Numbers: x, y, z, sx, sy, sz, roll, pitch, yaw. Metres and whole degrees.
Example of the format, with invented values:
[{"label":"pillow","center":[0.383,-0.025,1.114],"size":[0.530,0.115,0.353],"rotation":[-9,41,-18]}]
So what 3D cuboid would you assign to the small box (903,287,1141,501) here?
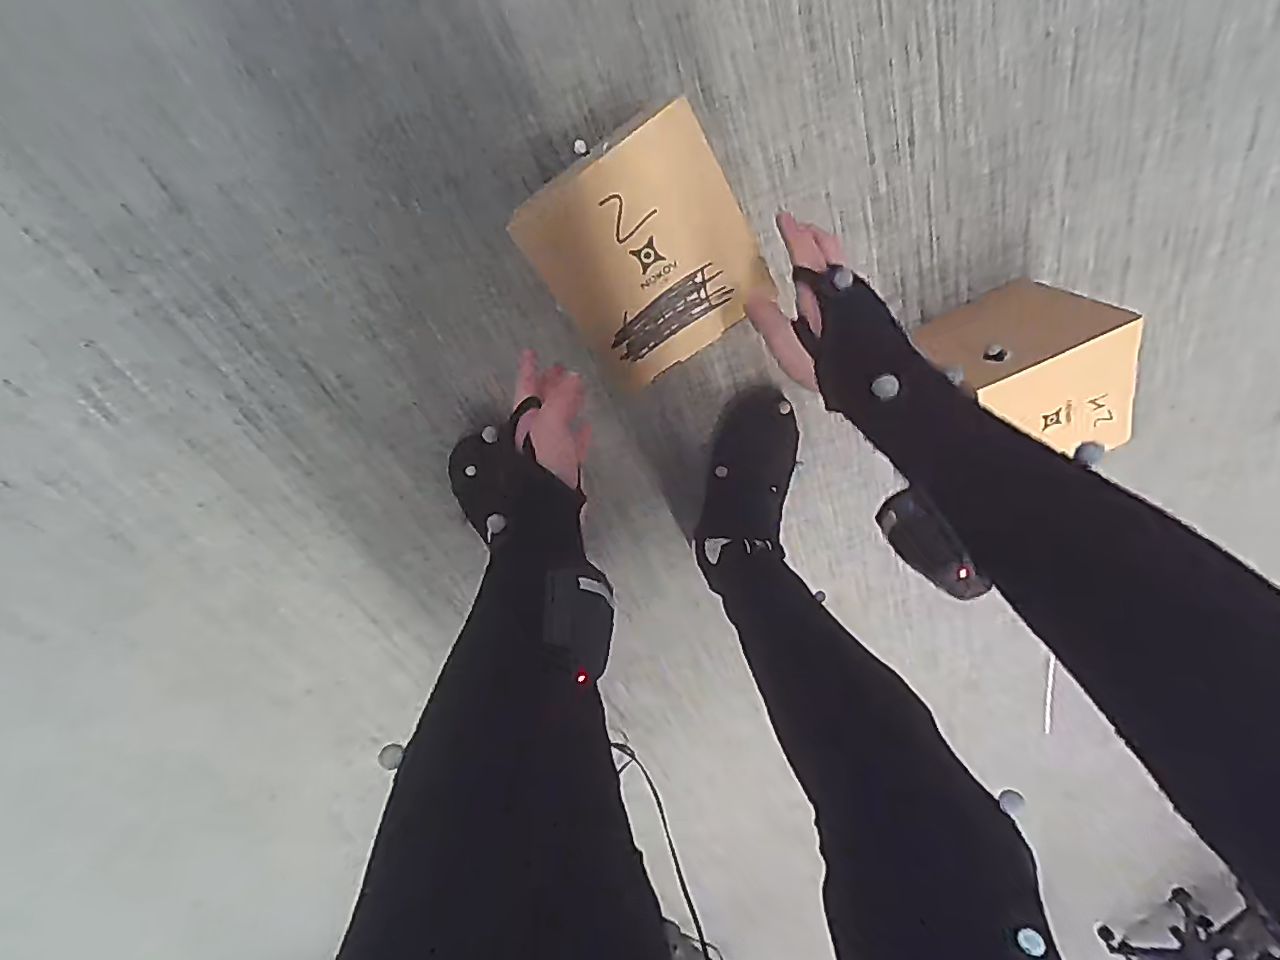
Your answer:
[{"label":"small box","center":[0.446,-0.110,0.662],"size":[0.179,0.176,0.168],"rotation":[-25,123,7]}]
